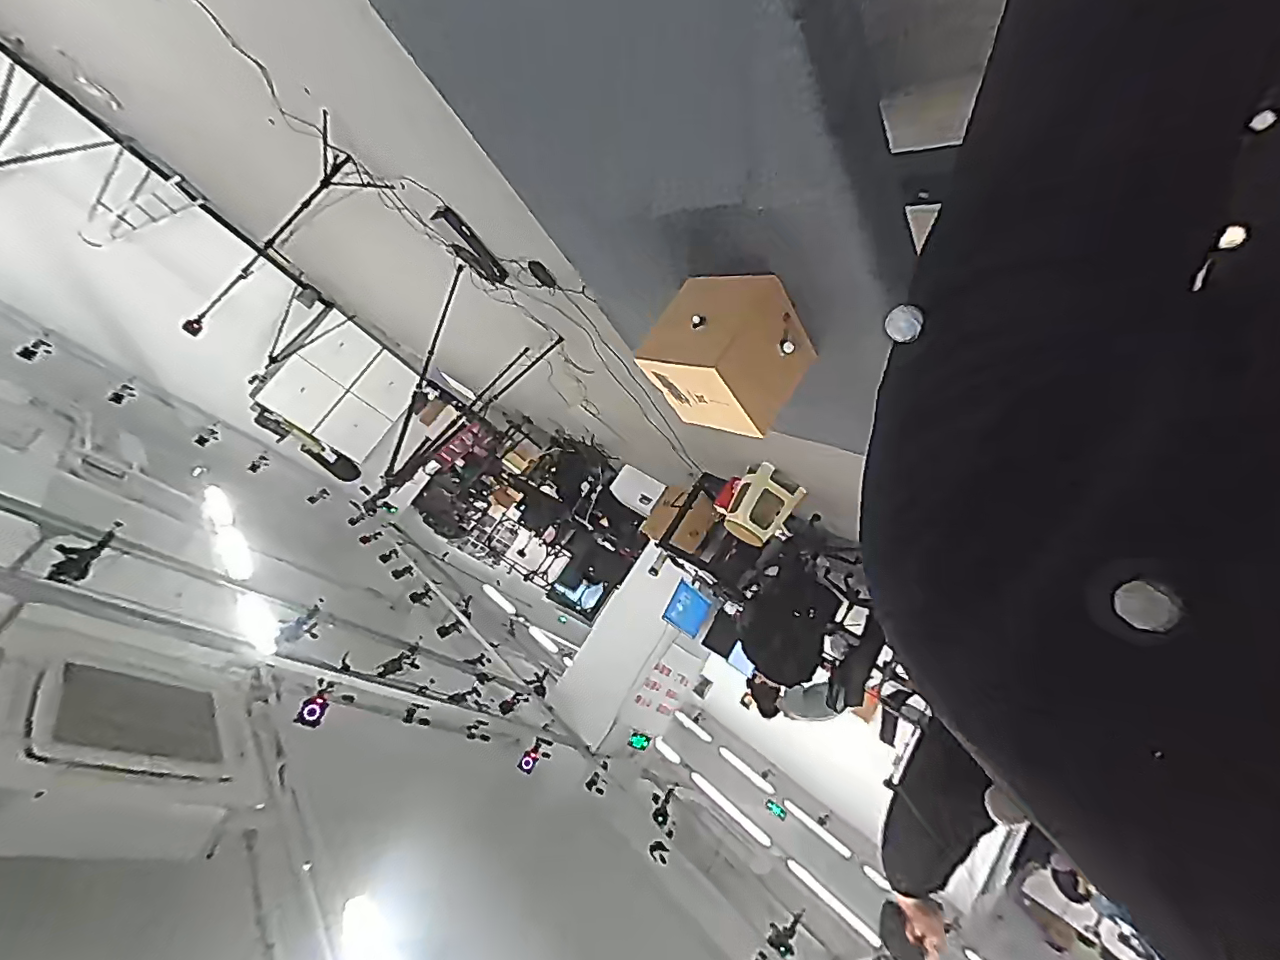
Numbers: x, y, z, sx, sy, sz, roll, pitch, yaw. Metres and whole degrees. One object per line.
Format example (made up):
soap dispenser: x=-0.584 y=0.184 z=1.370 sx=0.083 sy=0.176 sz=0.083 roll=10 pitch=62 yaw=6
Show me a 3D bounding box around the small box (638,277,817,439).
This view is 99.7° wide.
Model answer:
small box: x=0.137 y=-0.190 z=0.829 sx=0.179 sy=0.176 sz=0.168 roll=21 pitch=163 yaw=47
